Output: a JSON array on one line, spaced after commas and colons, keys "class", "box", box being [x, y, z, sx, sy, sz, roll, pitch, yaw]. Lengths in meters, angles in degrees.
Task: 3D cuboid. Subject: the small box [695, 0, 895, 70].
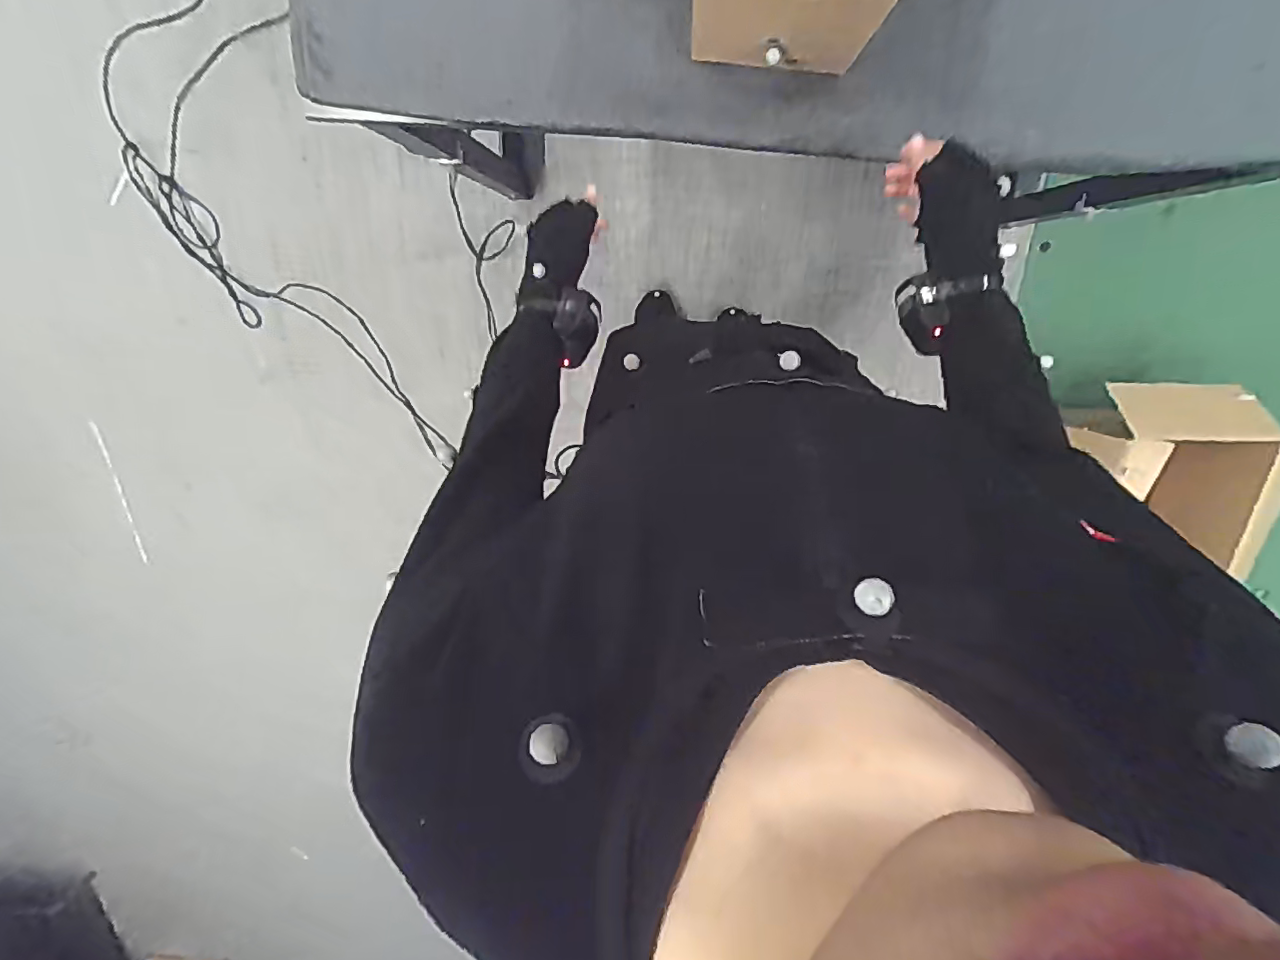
[{"class": "small box", "box": [0.140, -0.499, 0.470, 0.168, 0.176, 0.179, 7, 110, 2]}]
